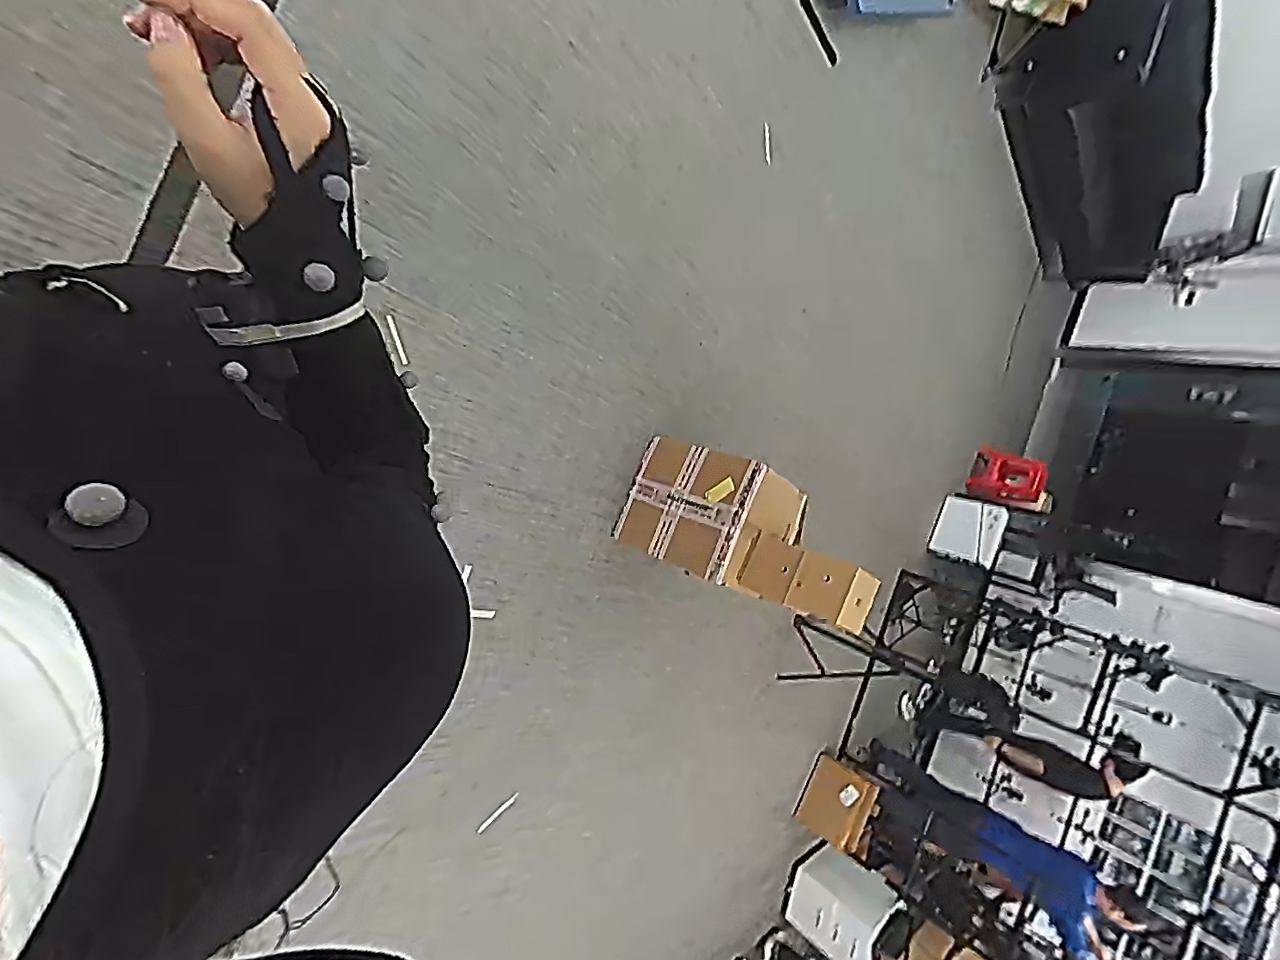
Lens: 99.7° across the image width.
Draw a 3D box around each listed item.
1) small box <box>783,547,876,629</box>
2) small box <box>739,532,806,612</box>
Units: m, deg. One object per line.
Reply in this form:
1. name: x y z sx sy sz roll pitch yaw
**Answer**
1. small box: 0.539 0.306 1.548 0.179 0.176 0.168 28 84 -44
2. small box: 0.434 0.281 1.670 0.168 0.176 0.179 31 82 -43
